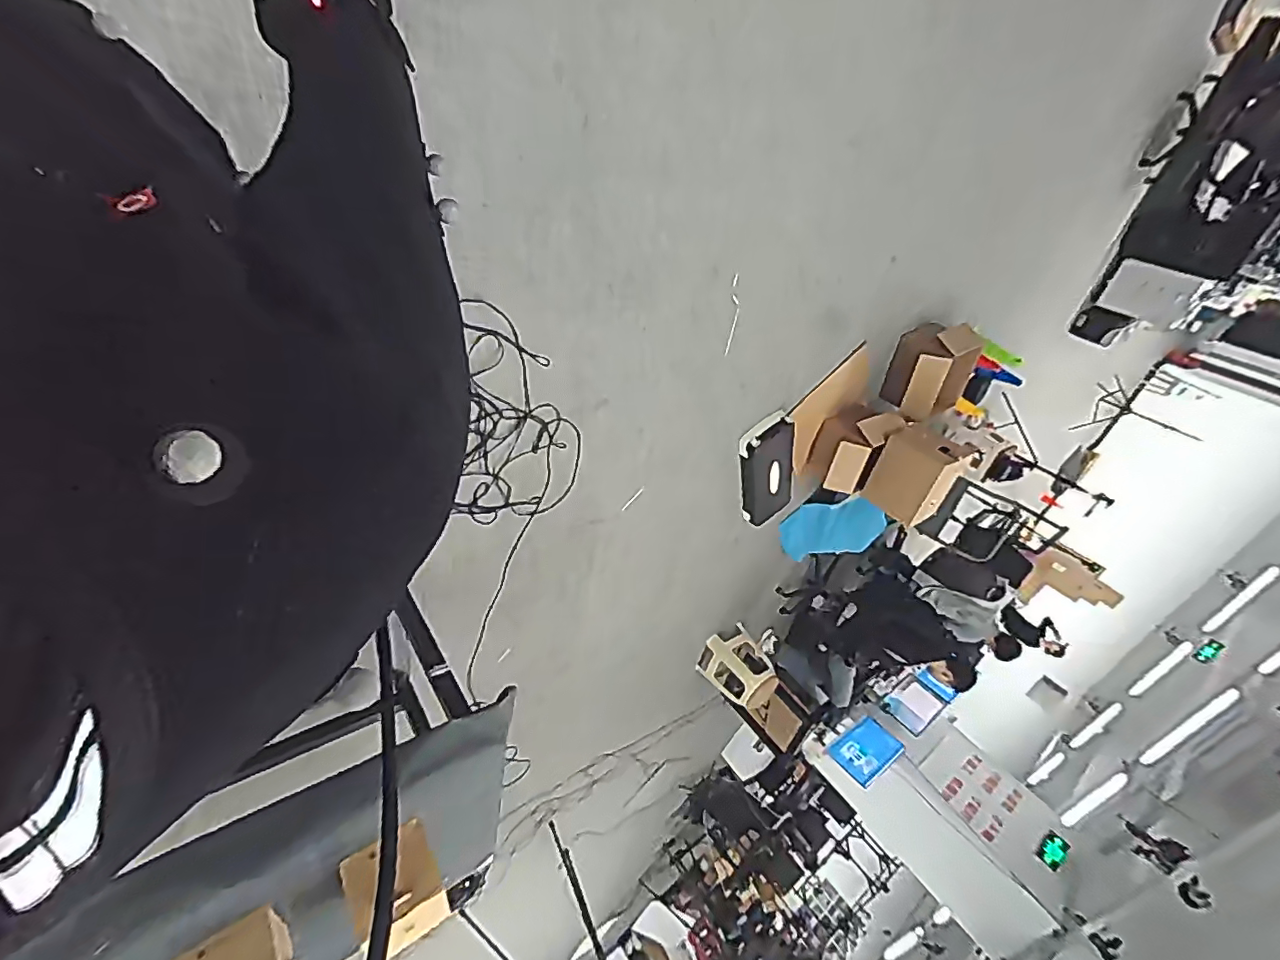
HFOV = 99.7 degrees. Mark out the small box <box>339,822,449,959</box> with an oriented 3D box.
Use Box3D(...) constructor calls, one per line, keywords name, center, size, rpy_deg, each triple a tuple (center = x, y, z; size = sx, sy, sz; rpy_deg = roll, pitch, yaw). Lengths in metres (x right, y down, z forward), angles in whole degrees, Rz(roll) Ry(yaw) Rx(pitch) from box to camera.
Box3D(name="small box", center=(-0.531, 0.891, 1.173), size=(0.168, 0.176, 0.179), rpy_deg=(-19, 135, -33))
